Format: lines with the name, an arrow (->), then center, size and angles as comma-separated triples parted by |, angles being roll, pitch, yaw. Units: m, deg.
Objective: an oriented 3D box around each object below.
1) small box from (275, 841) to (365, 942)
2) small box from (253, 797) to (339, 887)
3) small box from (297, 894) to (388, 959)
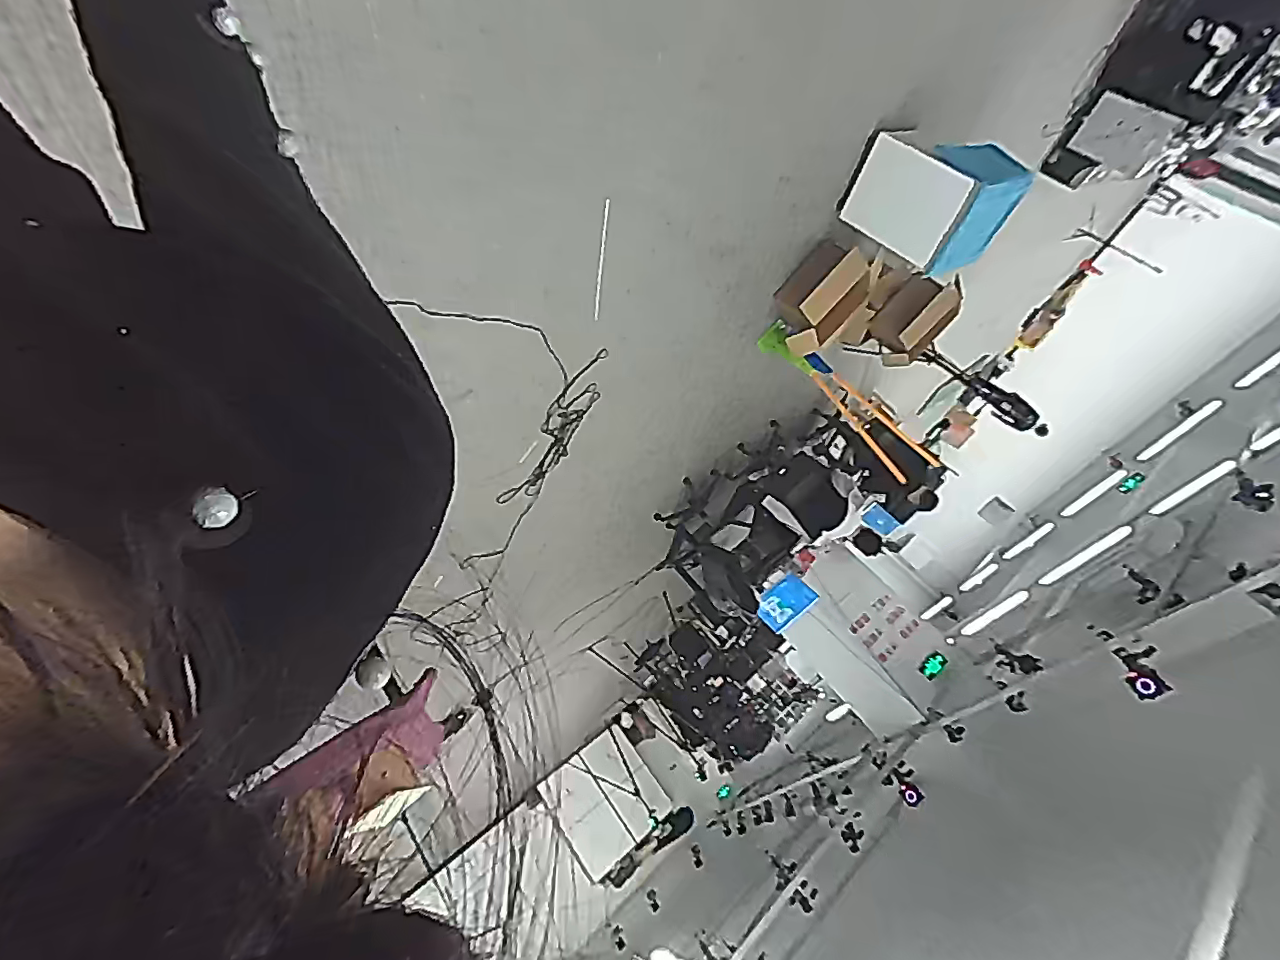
small box -> -0.951, 1.221, 1.605 | 0.179, 0.176, 0.168 | -28, 153, -32
small box -> -1.061, 1.121, 1.675 | 0.168, 0.176, 0.179 | -27, 153, -32
small box -> -0.848, 1.330, 1.539 | 0.179, 0.176, 0.168 | -27, 152, -31
